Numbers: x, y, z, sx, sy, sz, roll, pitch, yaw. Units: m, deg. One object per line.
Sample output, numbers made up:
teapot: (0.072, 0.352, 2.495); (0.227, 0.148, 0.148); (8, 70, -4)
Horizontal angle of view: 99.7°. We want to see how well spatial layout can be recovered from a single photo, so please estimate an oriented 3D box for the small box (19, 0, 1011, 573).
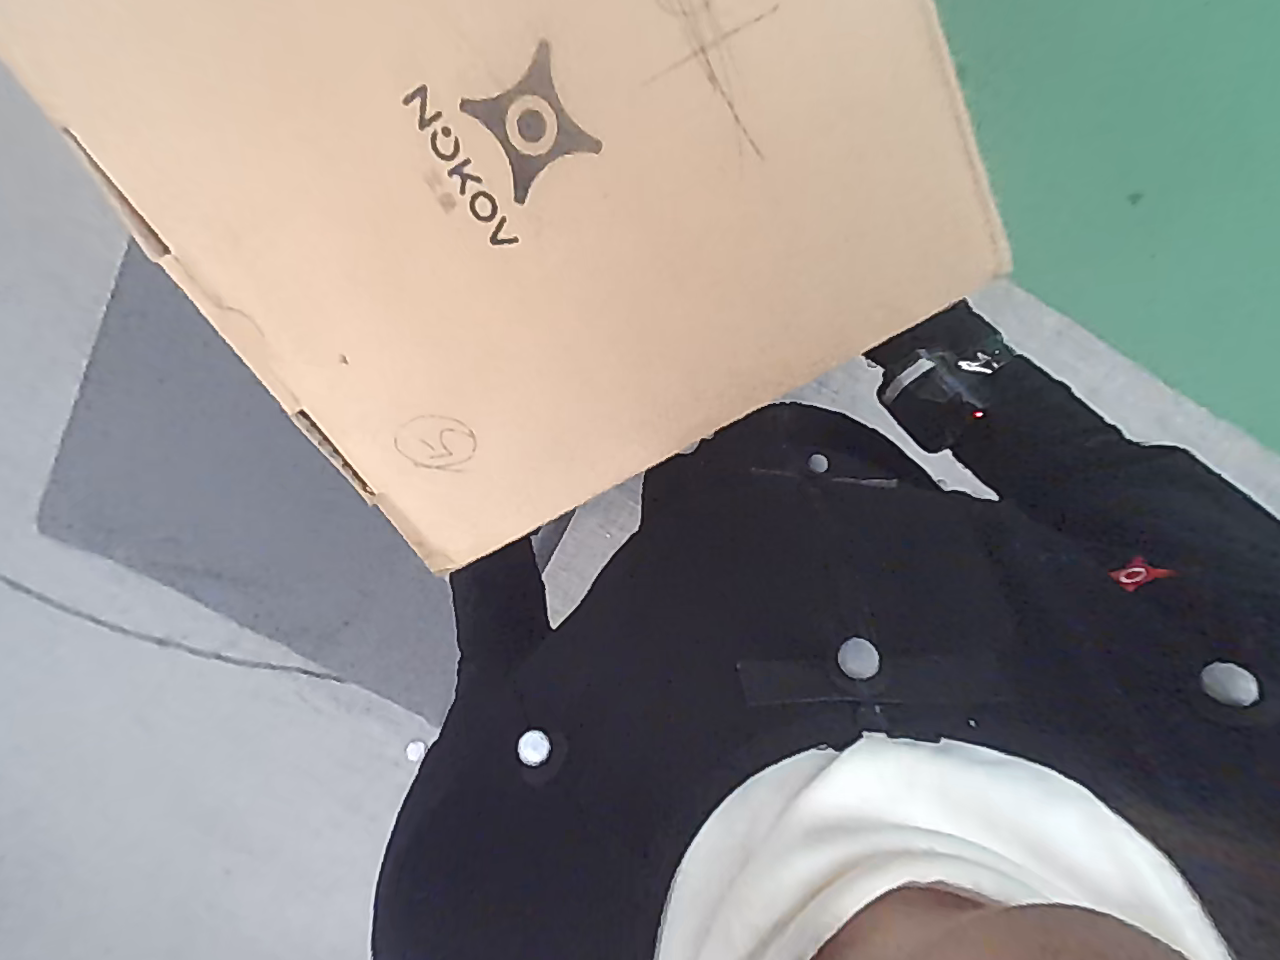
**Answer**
small box: (-0.020, -0.103, 0.199); (0.179, 0.176, 0.168); (-28, 111, 10)
